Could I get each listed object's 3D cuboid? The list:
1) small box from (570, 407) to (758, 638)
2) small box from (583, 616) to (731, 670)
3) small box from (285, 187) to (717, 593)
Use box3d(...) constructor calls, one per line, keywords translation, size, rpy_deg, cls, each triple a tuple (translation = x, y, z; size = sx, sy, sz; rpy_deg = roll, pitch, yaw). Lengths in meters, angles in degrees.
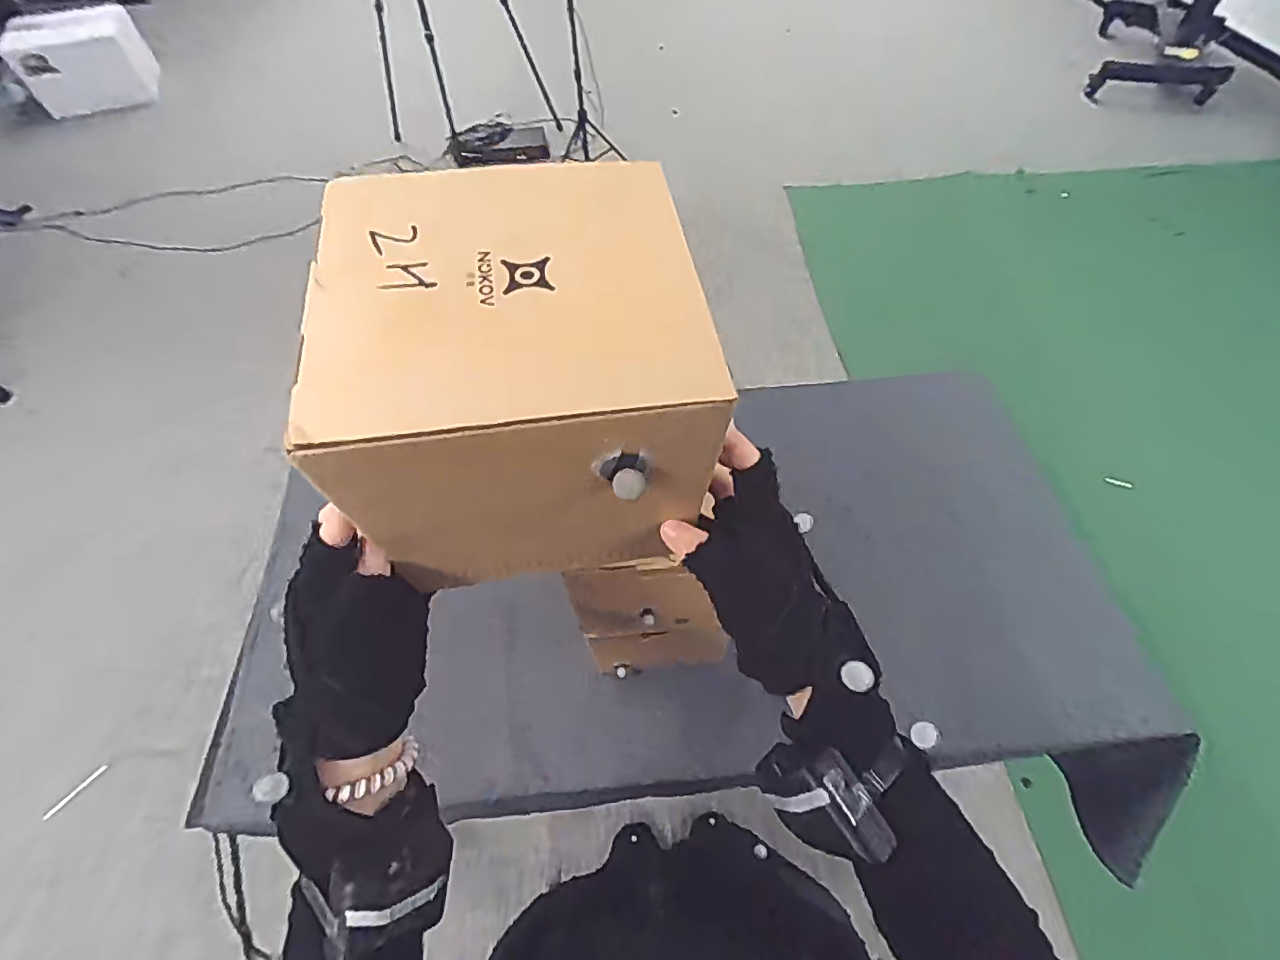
box3d(translation=(0.013, 0.048, 0.560), size=(0.168, 0.176, 0.179), rpy_deg=(-5, 57, -1), cls="small box")
box3d(translation=(0.017, 0.136, 0.696), size=(0.168, 0.176, 0.179), rpy_deg=(-5, 56, -1), cls="small box")
box3d(translation=(-0.069, -0.044, 0.326), size=(0.179, 0.176, 0.168), rpy_deg=(-8, 60, -7), cls="small box")
